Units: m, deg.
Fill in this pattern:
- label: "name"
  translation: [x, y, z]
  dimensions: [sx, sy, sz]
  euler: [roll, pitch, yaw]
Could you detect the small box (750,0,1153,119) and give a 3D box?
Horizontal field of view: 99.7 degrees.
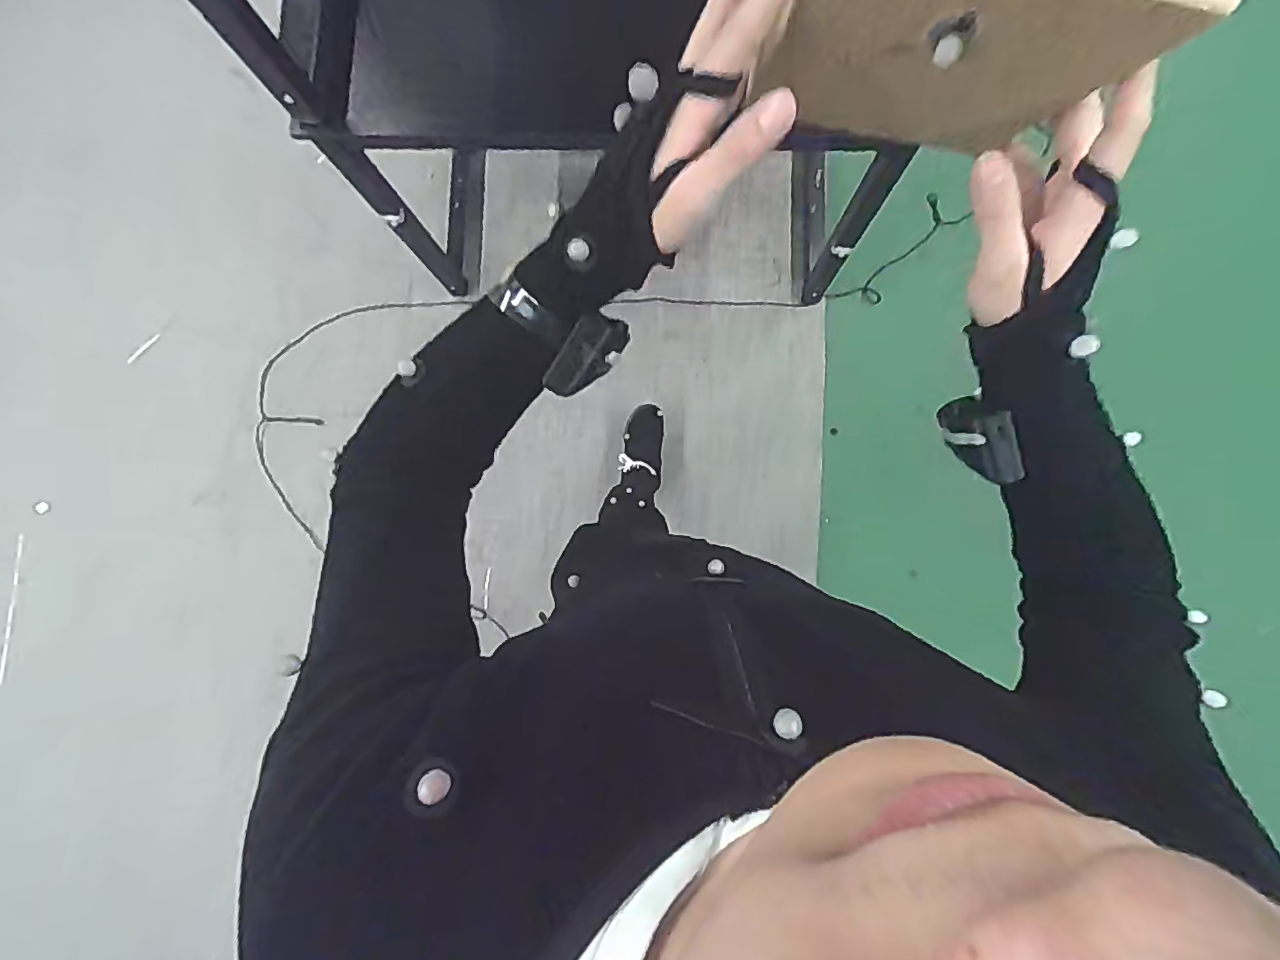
- label: "small box"
  translation: [0.164, -0.307, 0.261]
  dimensions: [0.179, 0.176, 0.168]
  euler: [9, 104, -3]
